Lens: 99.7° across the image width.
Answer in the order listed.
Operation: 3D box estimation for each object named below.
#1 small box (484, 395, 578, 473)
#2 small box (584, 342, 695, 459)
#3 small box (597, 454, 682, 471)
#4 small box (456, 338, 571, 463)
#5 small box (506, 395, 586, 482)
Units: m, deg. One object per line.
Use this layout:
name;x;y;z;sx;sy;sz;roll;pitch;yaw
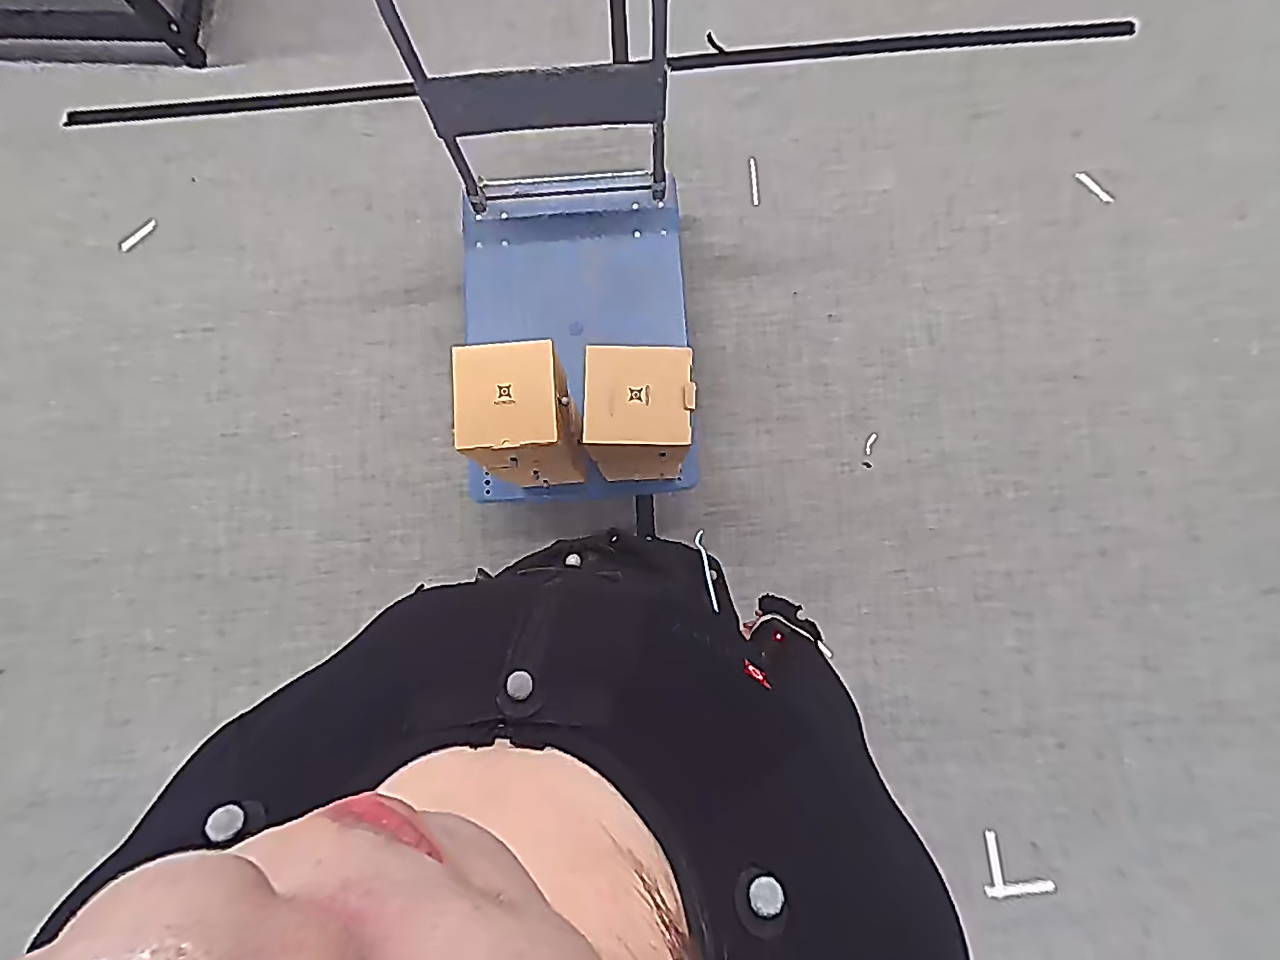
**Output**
small box;-0.224;-0.110;1.116;0.168;0.176;0.179;-7;84;-1
small box;0.000;-0.132;0.952;0.179;0.176;0.168;2;82;2
small box;-0.003;-0.117;1.115;0.168;0.176;0.179;-2;84;1
small box;-0.216;-0.133;0.954;0.168;0.176;0.179;-4;83;0
small box;-0.221;-0.091;1.279;0.168;0.176;0.179;-5;83;-1
